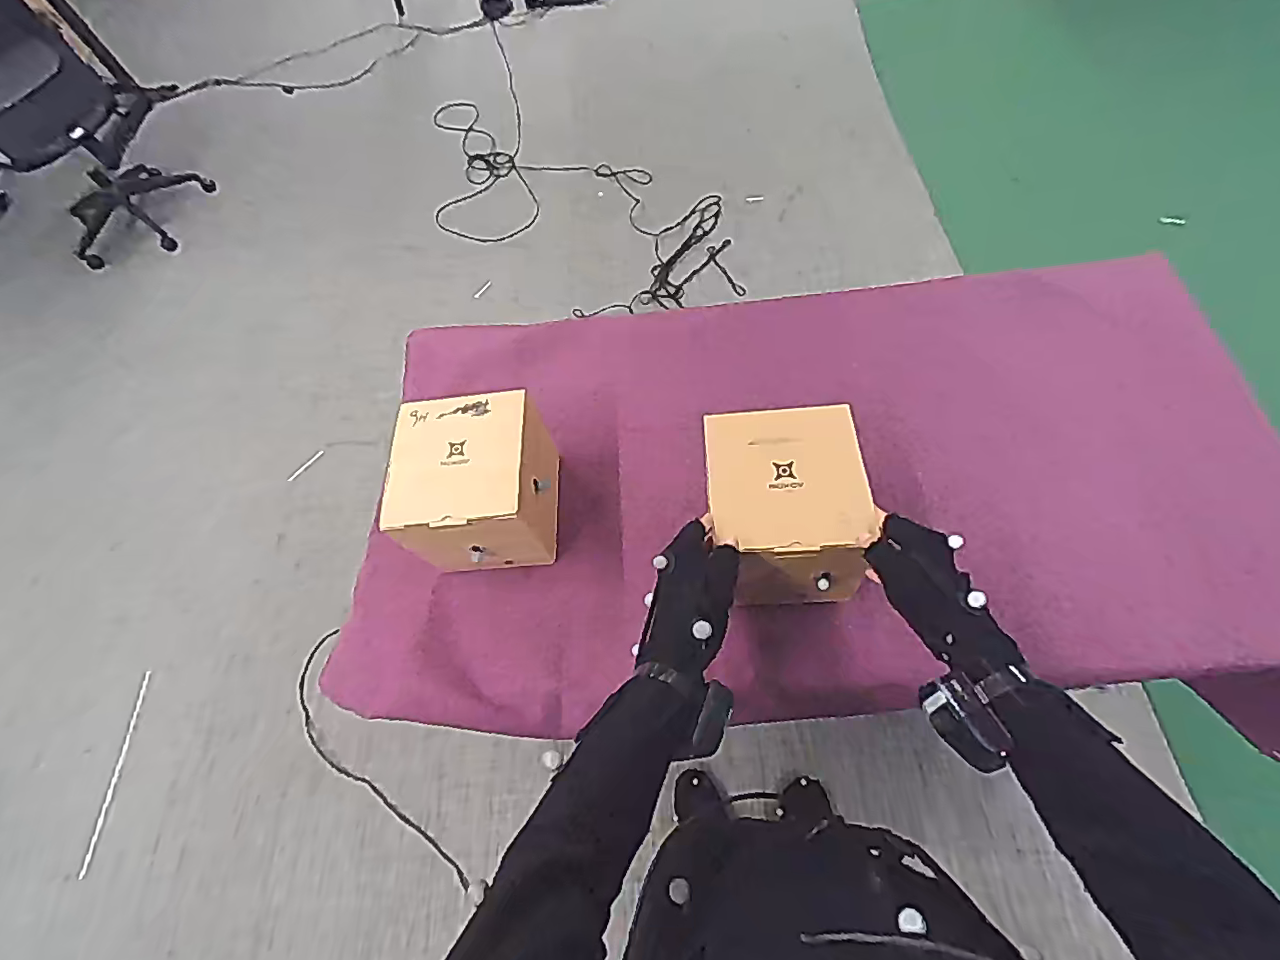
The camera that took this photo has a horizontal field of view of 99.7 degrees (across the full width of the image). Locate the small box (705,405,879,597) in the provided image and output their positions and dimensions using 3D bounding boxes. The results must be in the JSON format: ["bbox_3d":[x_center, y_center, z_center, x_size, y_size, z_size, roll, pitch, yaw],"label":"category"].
[{"bbox_3d":[0.166,0.035,0.643,0.168,0.176,0.179,-3,59,7],"label":"small box"}]

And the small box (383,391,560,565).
[{"bbox_3d":[-0.207,0.008,0.715,0.168,0.176,0.179,-5,63,5],"label":"small box"}]
